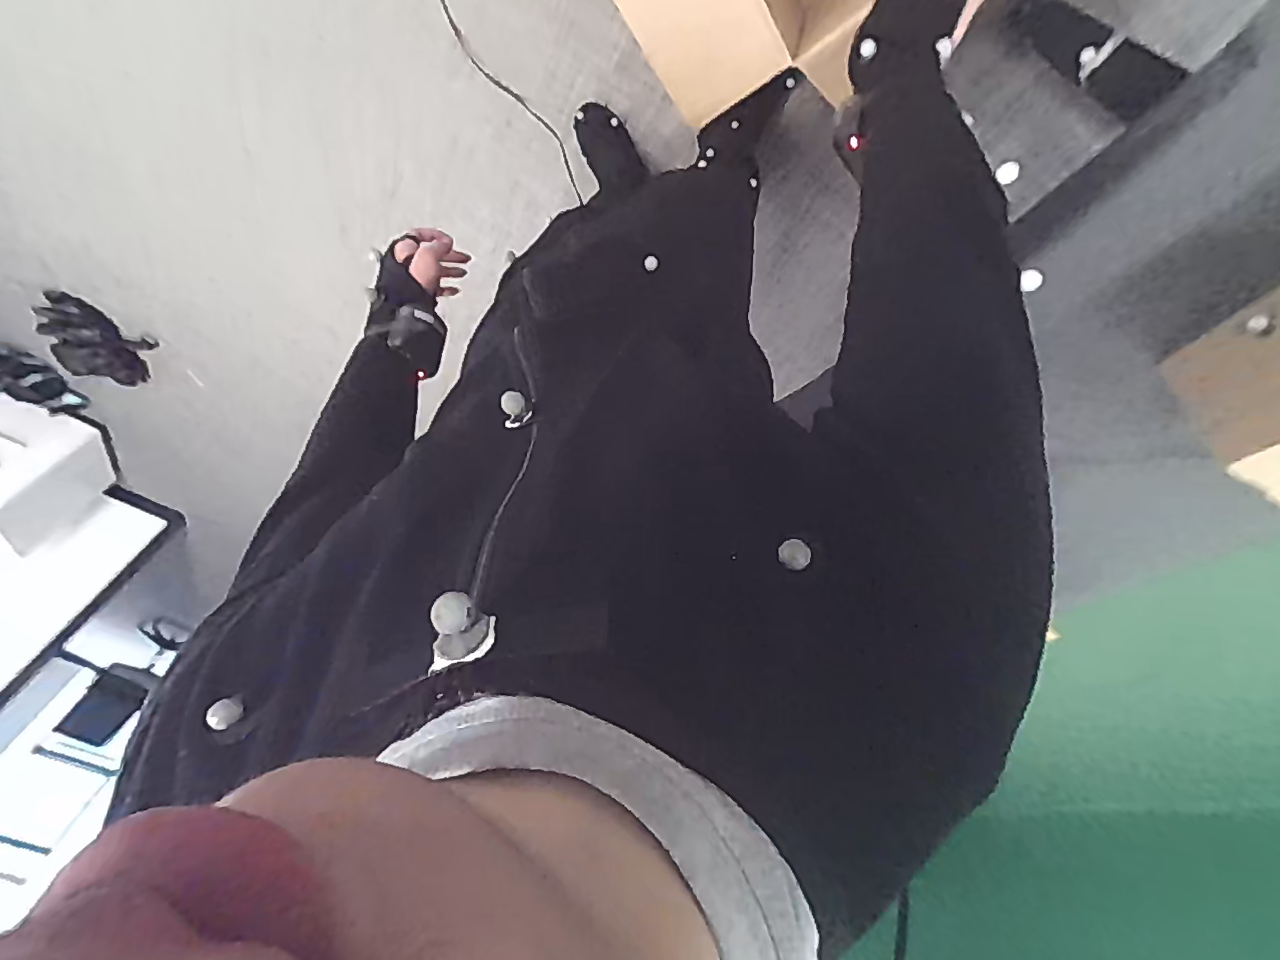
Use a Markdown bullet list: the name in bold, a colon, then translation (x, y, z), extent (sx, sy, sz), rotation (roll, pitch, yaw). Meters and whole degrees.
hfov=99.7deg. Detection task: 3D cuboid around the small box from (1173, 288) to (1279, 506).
- **small box**: translation (0.671, -0.084, 0.515), extent (0.168, 0.176, 0.179), rotation (25, 140, -9)
